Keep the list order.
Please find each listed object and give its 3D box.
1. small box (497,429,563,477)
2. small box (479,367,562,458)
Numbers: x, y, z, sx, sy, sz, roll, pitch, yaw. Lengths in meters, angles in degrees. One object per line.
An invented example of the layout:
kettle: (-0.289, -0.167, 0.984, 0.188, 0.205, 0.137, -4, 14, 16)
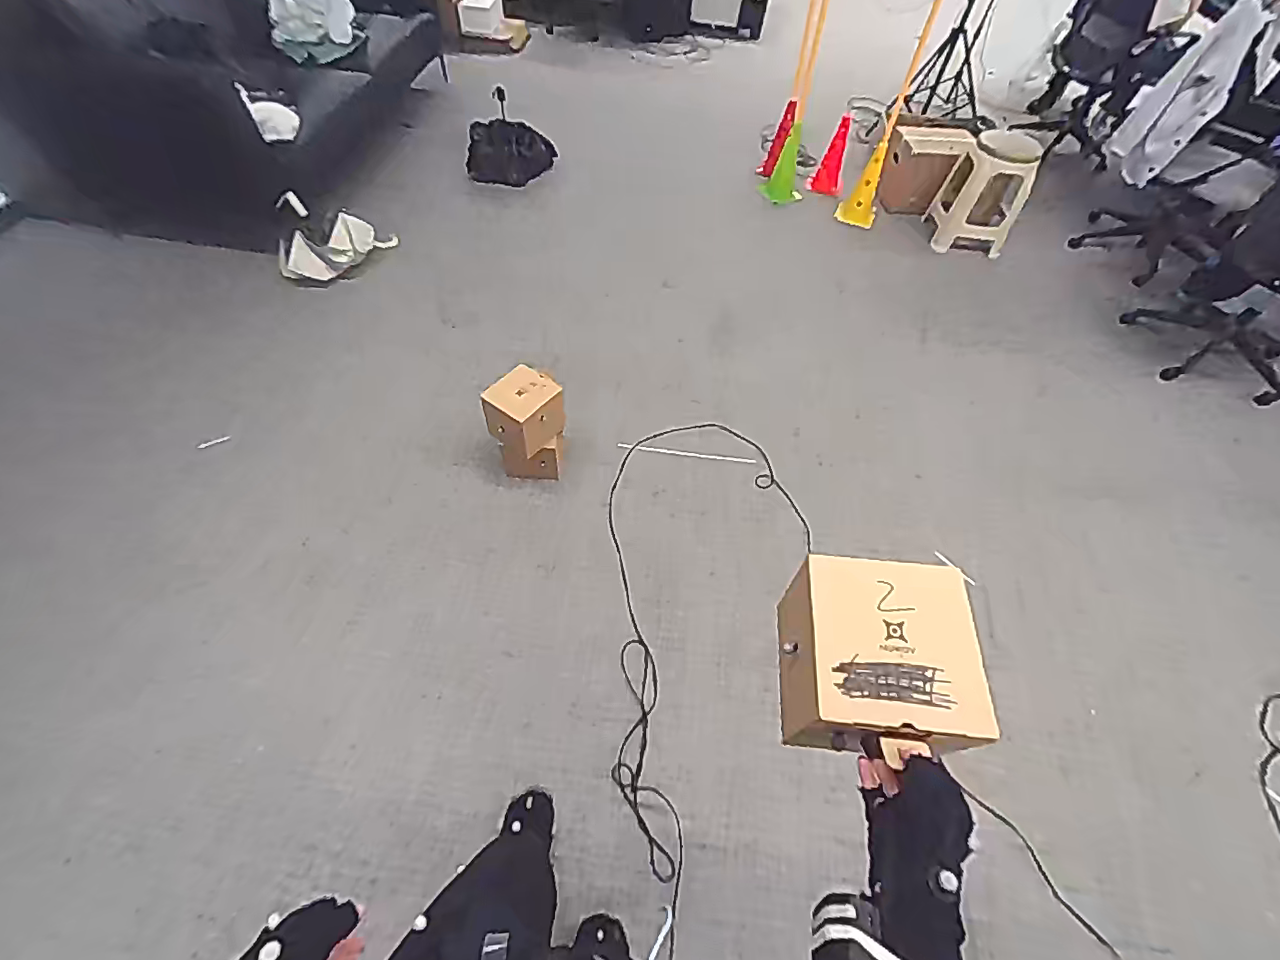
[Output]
small box: (-0.346, -0.123, 1.741, 0.179, 0.176, 0.168, 3, 54, -1)
small box: (-0.346, -0.196, 1.611, 0.168, 0.176, 0.179, 33, 58, 18)
